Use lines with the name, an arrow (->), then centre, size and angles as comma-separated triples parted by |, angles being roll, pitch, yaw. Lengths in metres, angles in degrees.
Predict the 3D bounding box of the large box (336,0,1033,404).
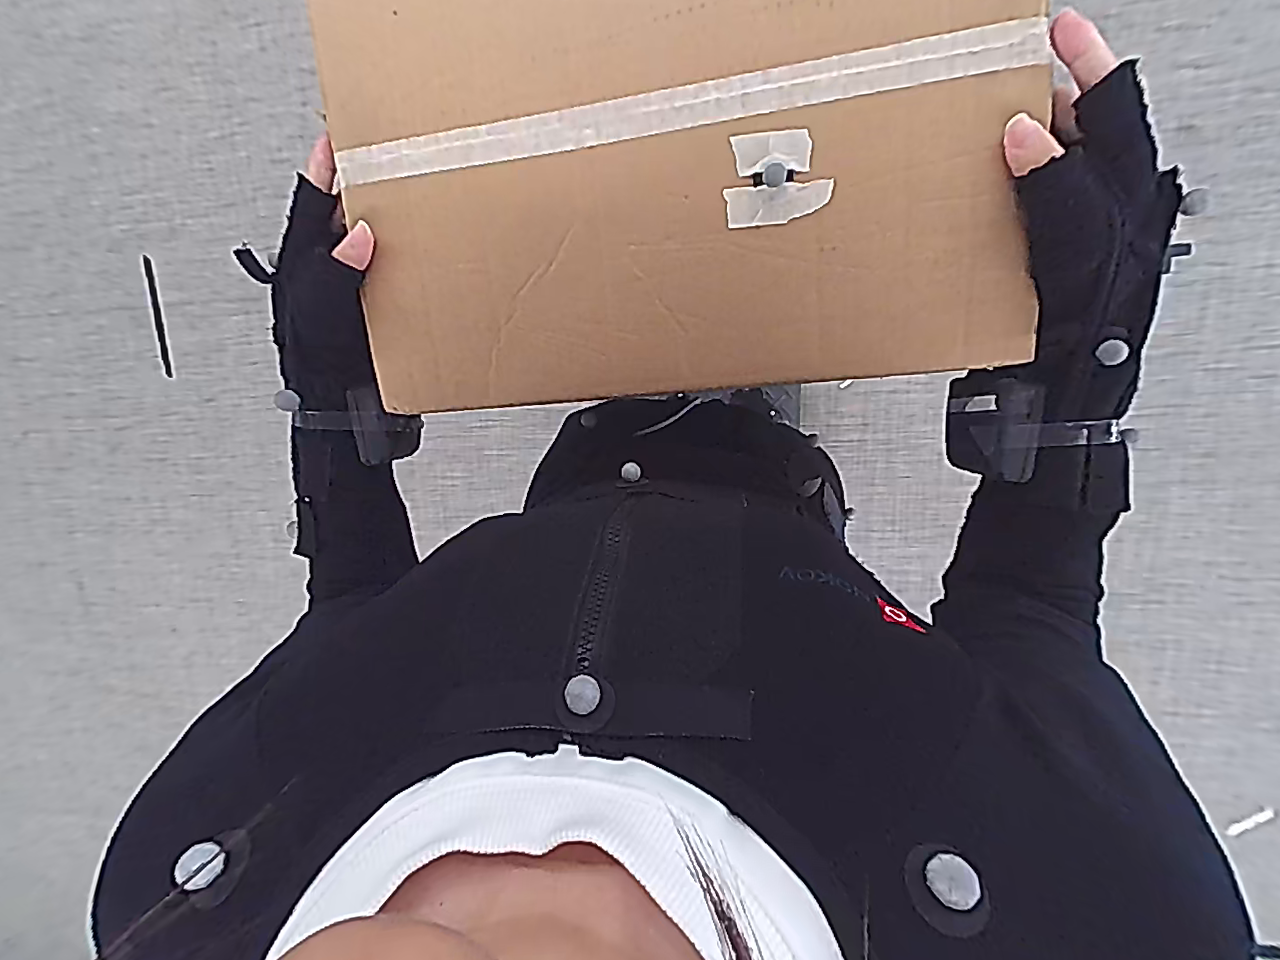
large box -> 0.035, -0.247, 0.465 | 0.408, 0.320, 0.320 | -3, 102, 10
